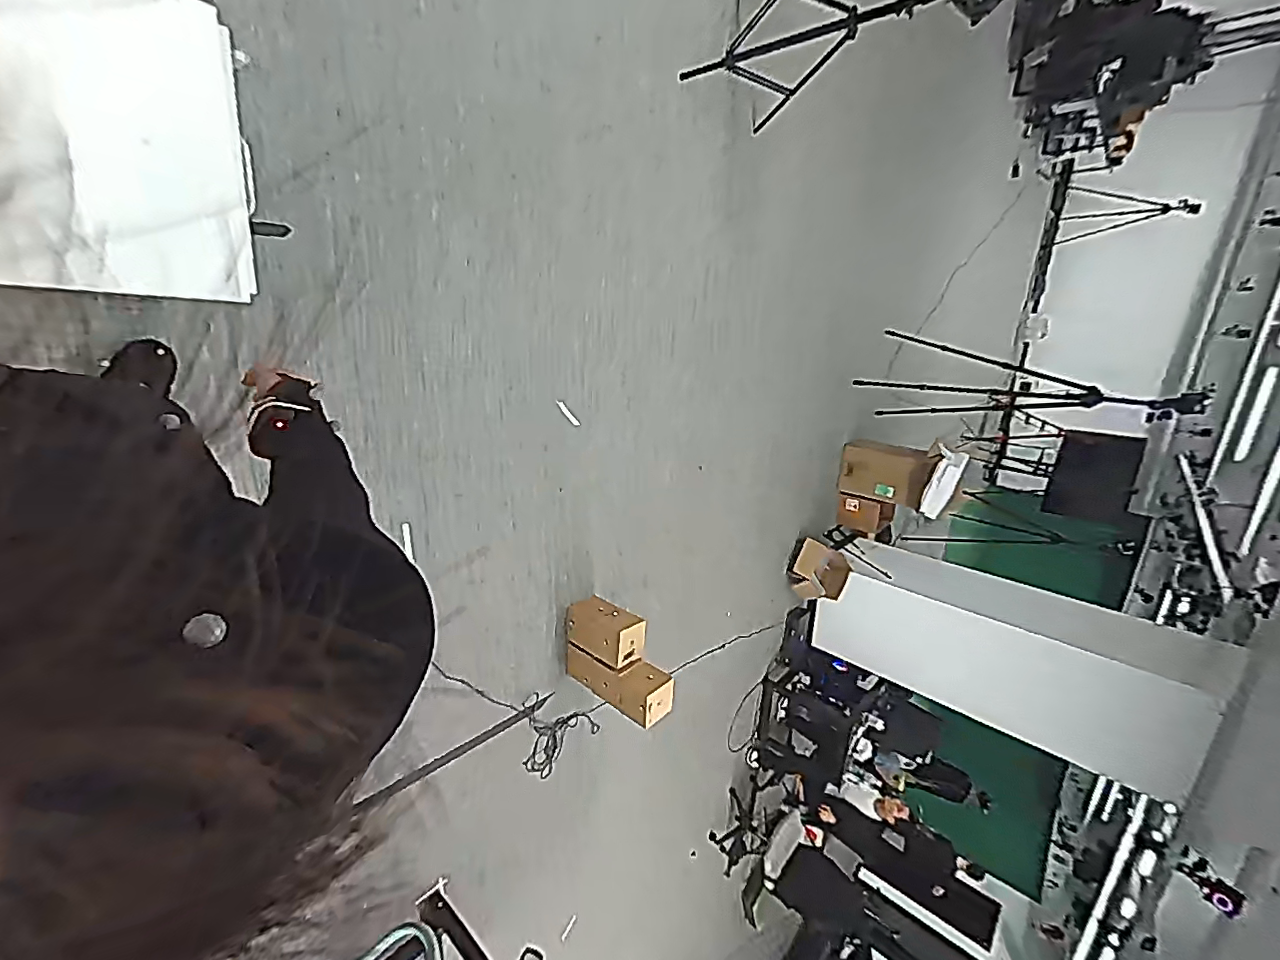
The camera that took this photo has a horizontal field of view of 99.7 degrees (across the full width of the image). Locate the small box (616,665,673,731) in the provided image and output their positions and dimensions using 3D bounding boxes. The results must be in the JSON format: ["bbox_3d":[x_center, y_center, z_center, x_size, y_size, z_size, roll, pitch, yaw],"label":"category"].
[{"bbox_3d":[0.018,0.918,2.299,0.179,0.176,0.168,-17,115,-46],"label":"small box"}]

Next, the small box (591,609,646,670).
[{"bbox_3d":[-0.098,0.686,2.341,0.168,0.176,0.179,-9,108,-48],"label":"small box"}]
